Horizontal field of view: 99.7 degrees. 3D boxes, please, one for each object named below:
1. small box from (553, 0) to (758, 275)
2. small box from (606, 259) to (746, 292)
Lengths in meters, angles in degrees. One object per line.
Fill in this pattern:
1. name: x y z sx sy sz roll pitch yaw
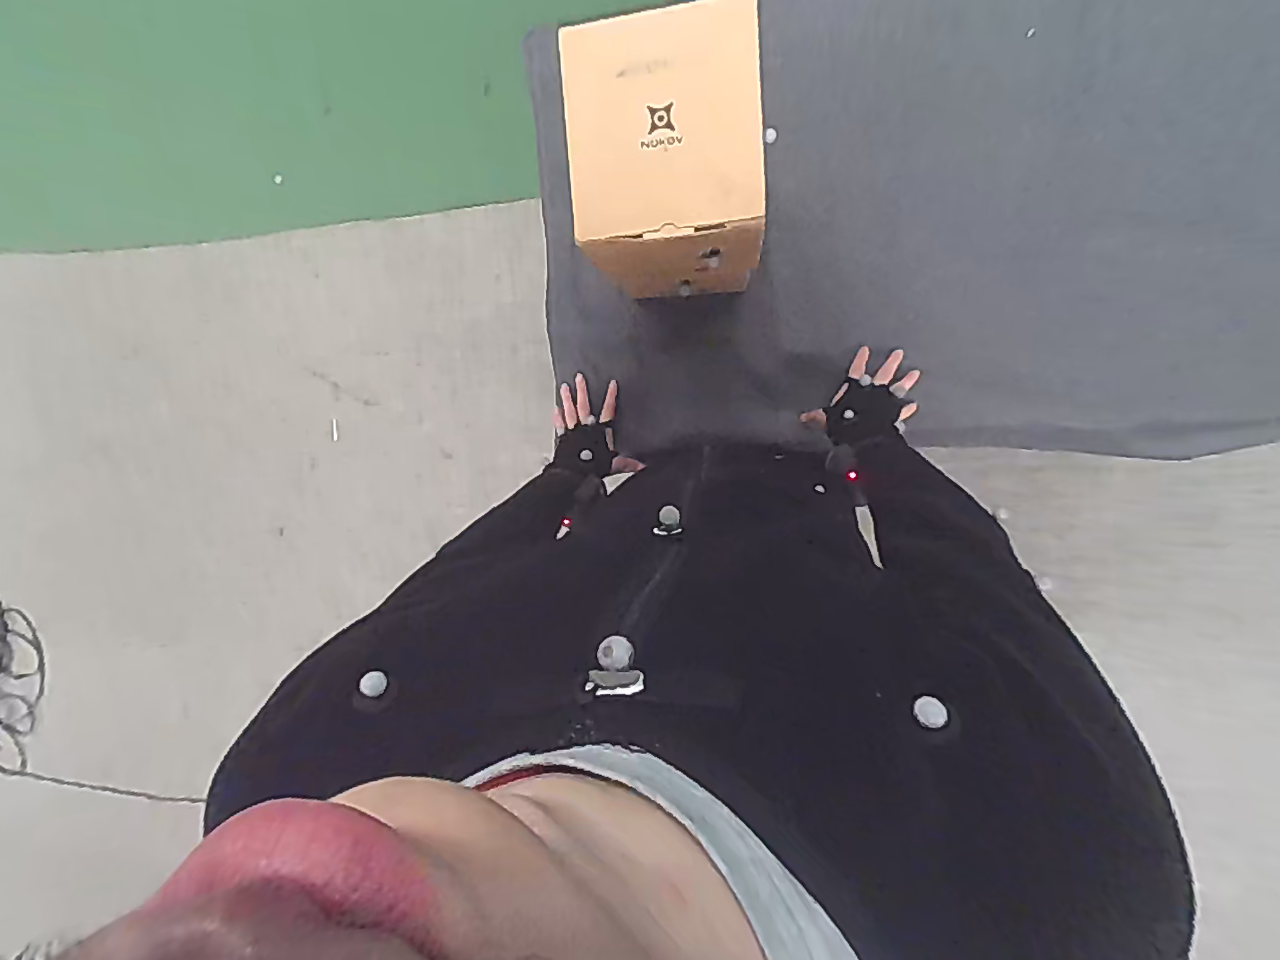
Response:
1. small box: 0.025 -0.310 0.524 0.168 0.176 0.179 -4 95 9
2. small box: 0.050 -0.343 0.682 0.168 0.176 0.179 -1 97 9
